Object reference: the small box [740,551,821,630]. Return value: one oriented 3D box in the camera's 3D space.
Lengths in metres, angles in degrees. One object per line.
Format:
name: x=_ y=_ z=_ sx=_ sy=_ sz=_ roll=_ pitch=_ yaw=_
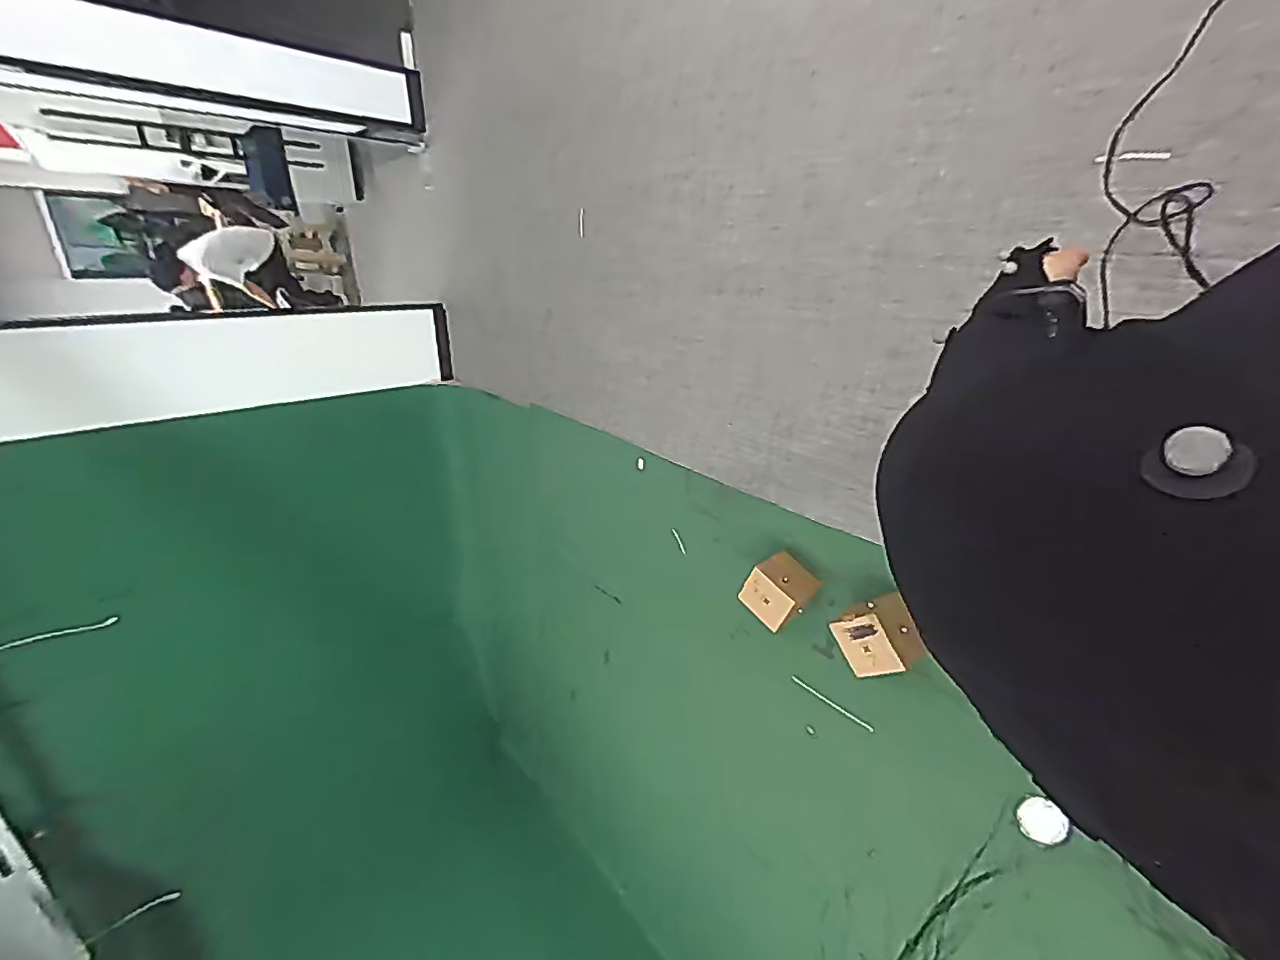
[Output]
small box: x=0.481 y=0.370 z=1.840 sx=0.179 sy=0.176 sz=0.168 roll=44 pitch=133 yaw=30
